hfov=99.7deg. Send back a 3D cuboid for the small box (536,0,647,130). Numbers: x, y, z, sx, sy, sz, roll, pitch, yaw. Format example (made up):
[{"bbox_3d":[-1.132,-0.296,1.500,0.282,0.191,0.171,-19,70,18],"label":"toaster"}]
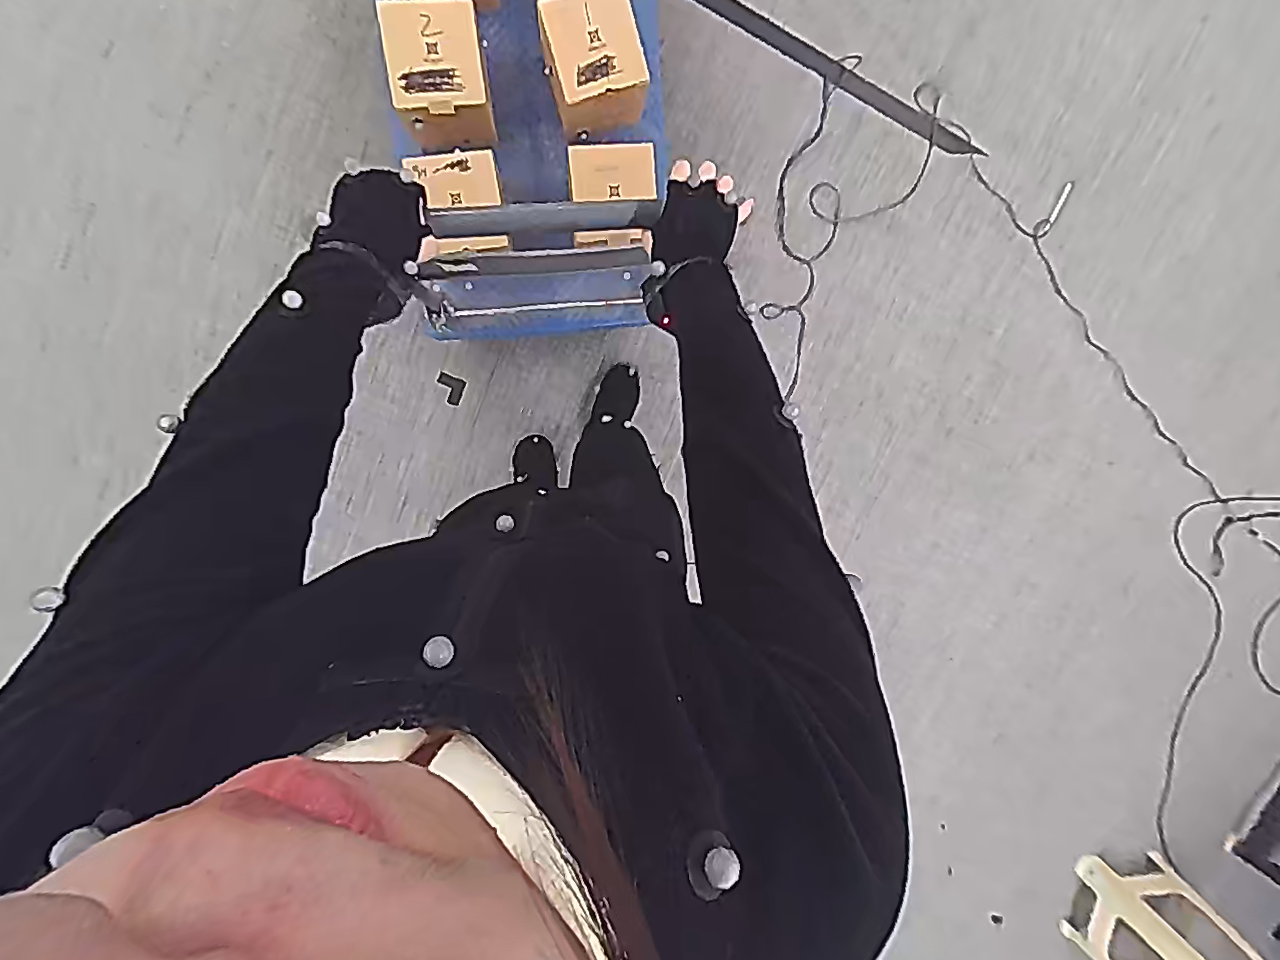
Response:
[{"bbox_3d":[-0.095,-0.826,1.069,0.168,0.176,0.179,-18,102,-4],"label":"small box"}]

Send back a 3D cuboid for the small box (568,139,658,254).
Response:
[{"bbox_3d":[-0.059,-0.576,1.121,0.168,0.176,0.179,-6,101,-7],"label":"small box"}]

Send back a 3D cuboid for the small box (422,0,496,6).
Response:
[{"bbox_3d":[-0.361,-1.028,0.993,0.168,0.176,0.179,-5,102,-7],"label":"small box"}]

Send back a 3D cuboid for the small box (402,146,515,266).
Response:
[{"bbox_3d":[-0.353,-0.538,1.086,0.168,0.176,0.179,-10,102,-6],"label":"small box"}]
